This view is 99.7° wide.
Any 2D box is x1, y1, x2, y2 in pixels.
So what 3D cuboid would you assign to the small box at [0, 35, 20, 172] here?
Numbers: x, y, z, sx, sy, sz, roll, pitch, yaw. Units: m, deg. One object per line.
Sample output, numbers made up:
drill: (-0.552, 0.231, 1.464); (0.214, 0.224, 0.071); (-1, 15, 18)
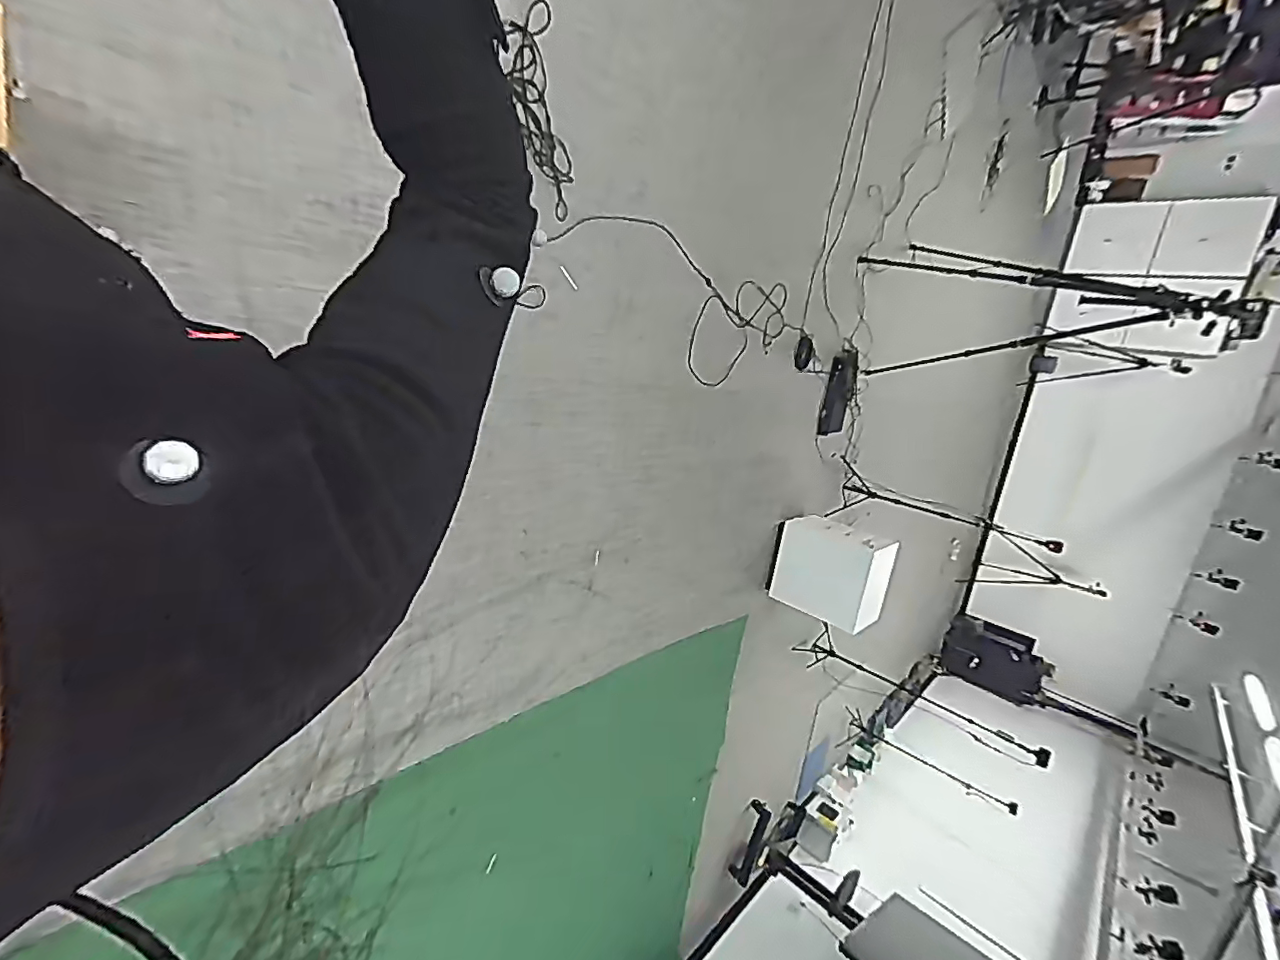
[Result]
small box: (-1.053, -0.587, 0.803); (0.168, 0.176, 0.179); (1, 105, -47)
